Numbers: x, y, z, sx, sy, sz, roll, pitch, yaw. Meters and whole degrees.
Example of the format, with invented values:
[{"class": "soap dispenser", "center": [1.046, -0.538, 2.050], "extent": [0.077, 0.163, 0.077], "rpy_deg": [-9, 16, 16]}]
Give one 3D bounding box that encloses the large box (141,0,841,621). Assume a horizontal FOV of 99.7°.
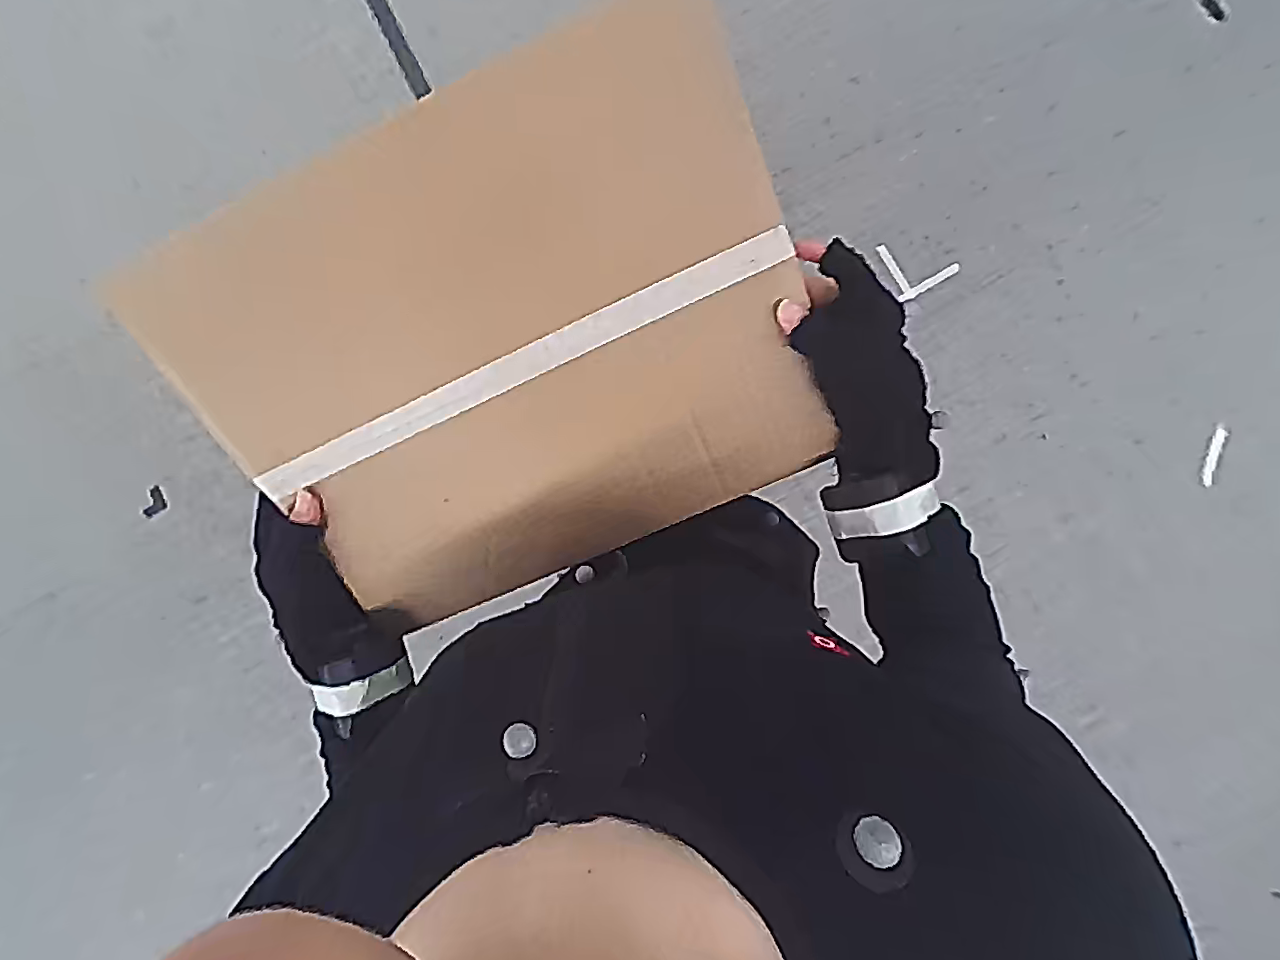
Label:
[{"class": "large box", "center": [-0.094, -0.140, 0.517], "extent": [0.408, 0.320, 0.320], "rpy_deg": [-23, 114, 7]}]
